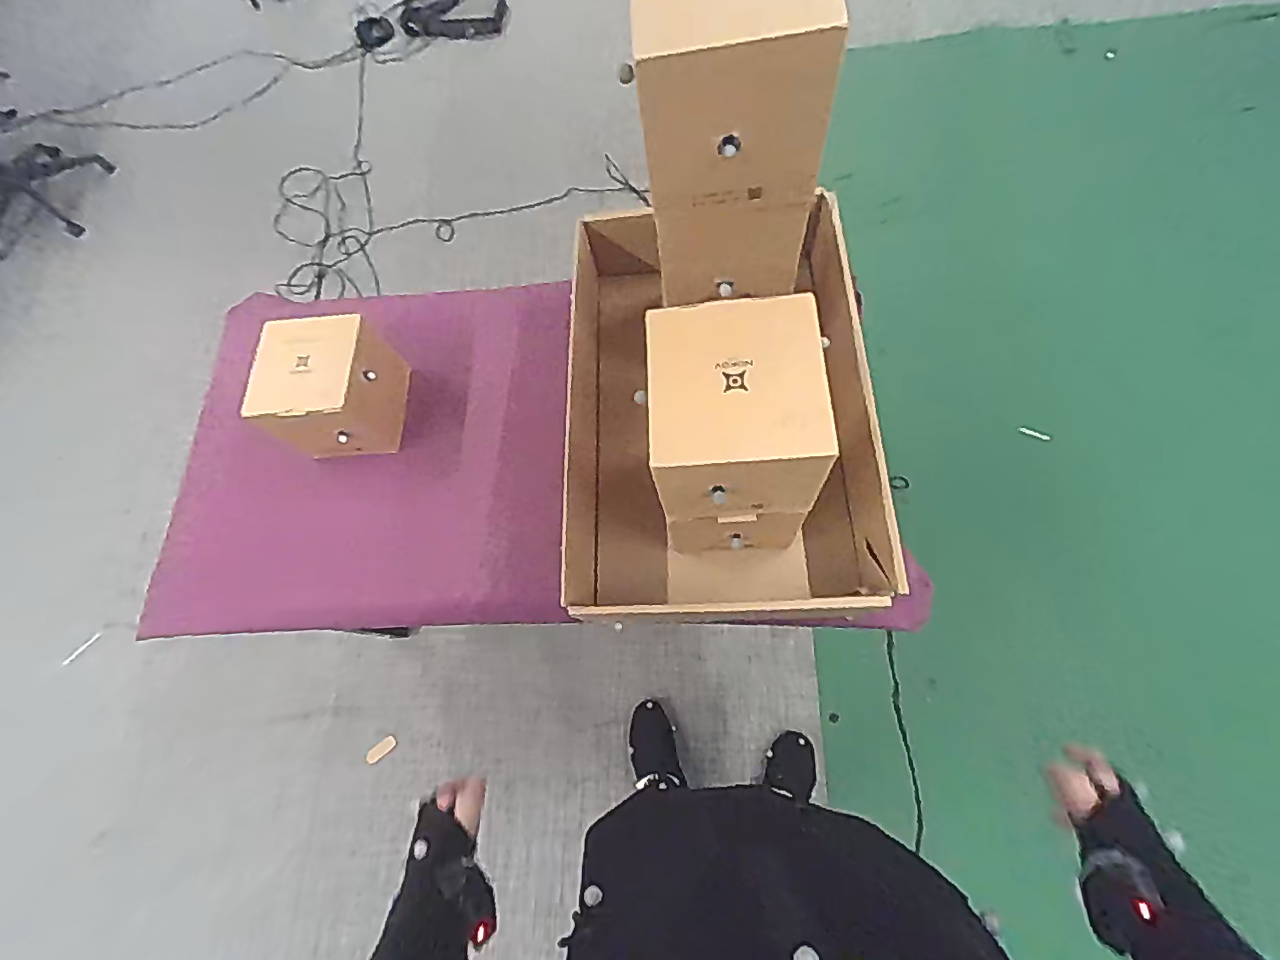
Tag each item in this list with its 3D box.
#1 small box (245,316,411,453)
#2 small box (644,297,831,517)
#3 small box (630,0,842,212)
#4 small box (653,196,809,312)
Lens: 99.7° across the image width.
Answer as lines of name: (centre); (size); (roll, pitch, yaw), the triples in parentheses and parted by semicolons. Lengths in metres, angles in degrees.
small box: (-0.513, -0.151, 0.917); (0.168, 0.176, 0.179); (-2, 69, 5)
small box: (0.098, -0.063, 0.578); (0.168, 0.176, 0.179); (-4, 68, 8)
small box: (0.083, -0.382, 0.516); (0.168, 0.176, 0.179); (-3, 71, 6)
small box: (0.104, -0.332, 0.673); (0.168, 0.176, 0.179); (-5, 71, 7)
